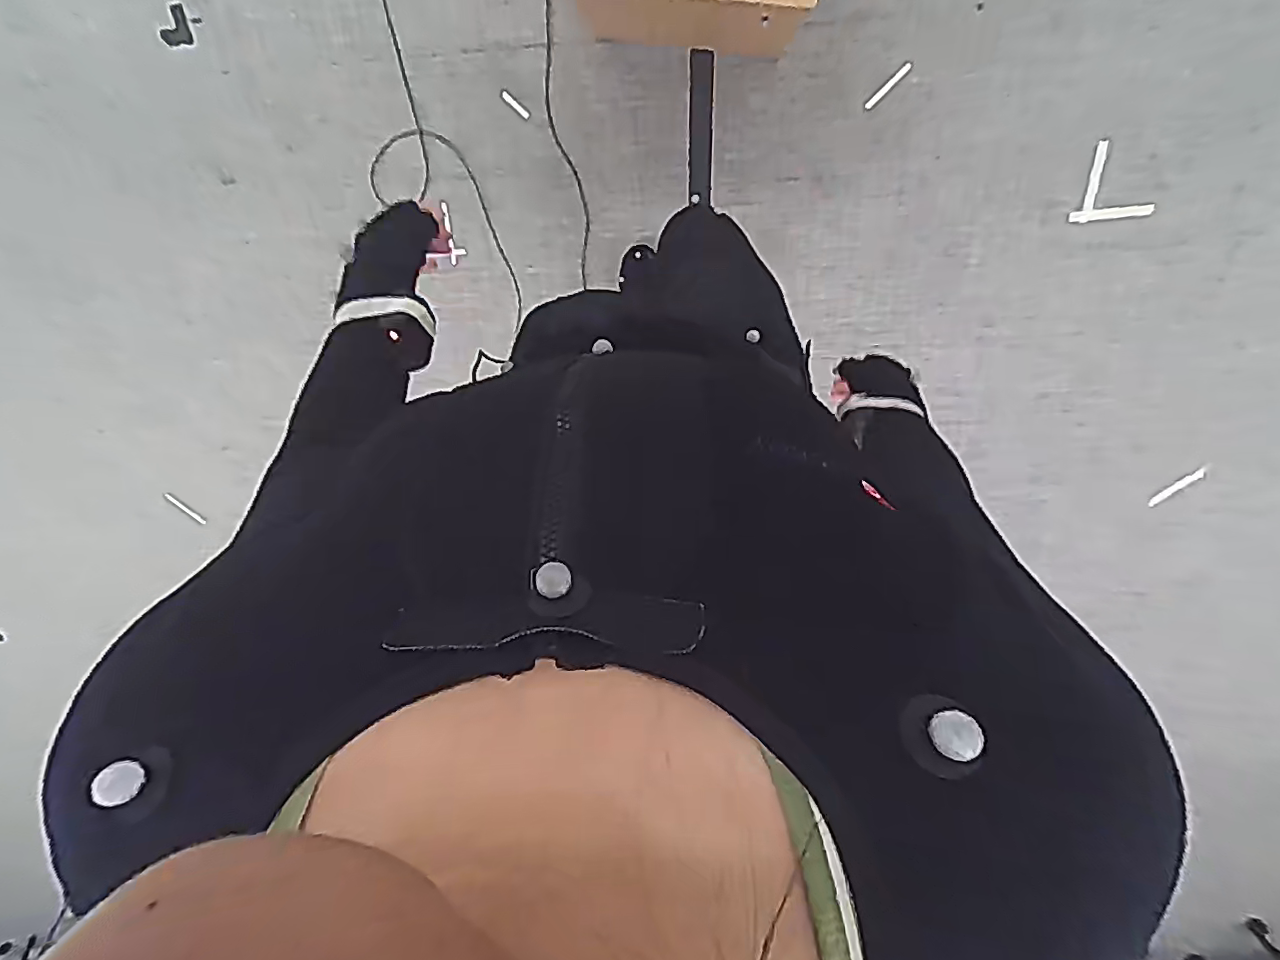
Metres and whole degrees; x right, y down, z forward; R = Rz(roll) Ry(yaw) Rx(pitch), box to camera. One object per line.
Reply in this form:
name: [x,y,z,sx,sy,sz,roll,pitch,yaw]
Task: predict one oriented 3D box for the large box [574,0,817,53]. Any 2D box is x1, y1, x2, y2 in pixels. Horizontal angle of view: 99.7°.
large box: [0.103,-0.968,0.928,0.408,0.320,0.320,6,116,0]
